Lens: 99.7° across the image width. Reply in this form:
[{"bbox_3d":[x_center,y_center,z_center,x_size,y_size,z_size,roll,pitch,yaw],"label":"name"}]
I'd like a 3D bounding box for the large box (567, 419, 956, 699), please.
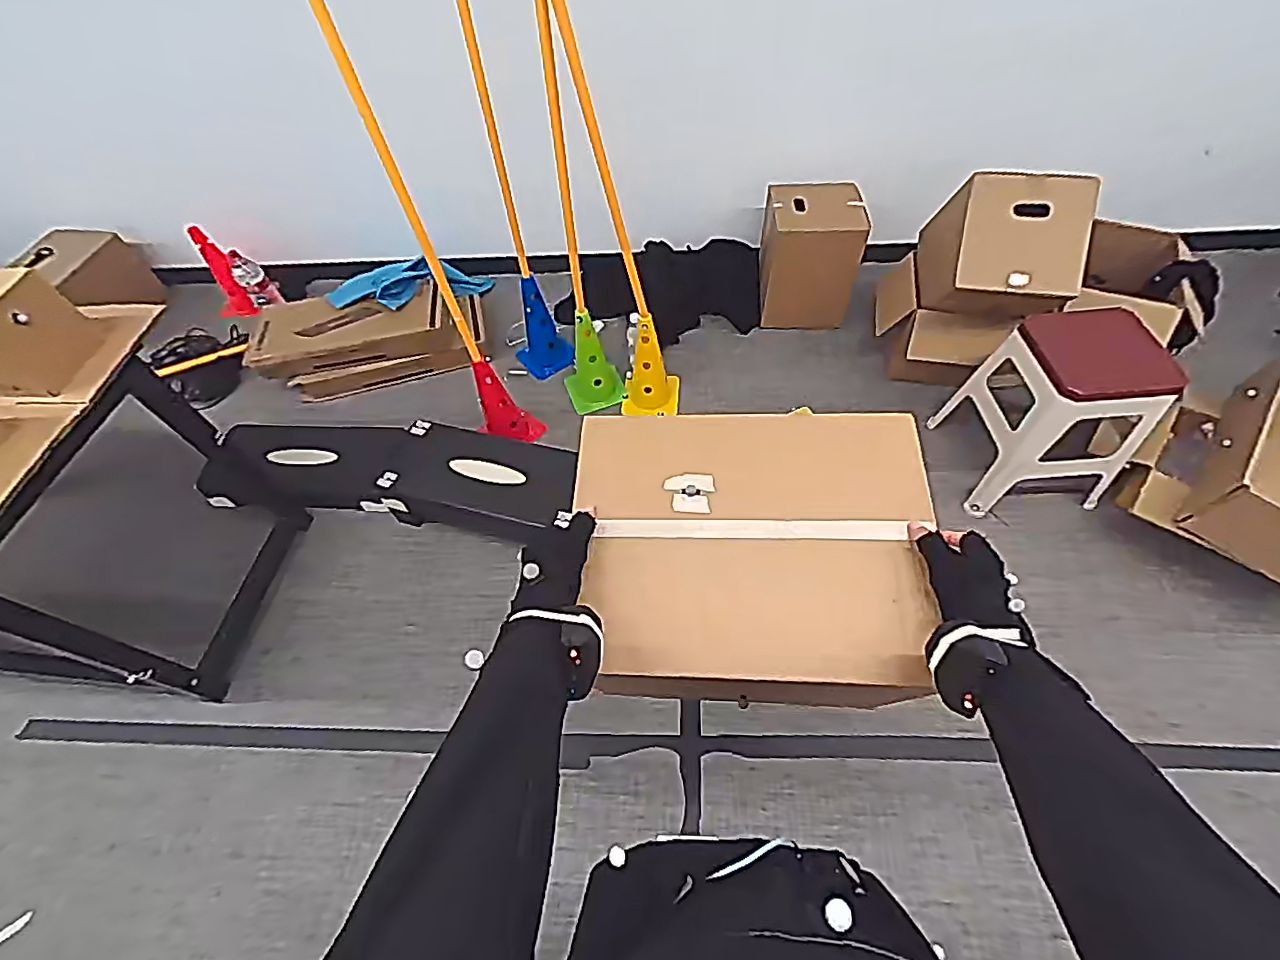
[{"bbox_3d":[0.140,0.130,0.751,0.408,0.320,0.320,0,64,6],"label":"large box"}]
